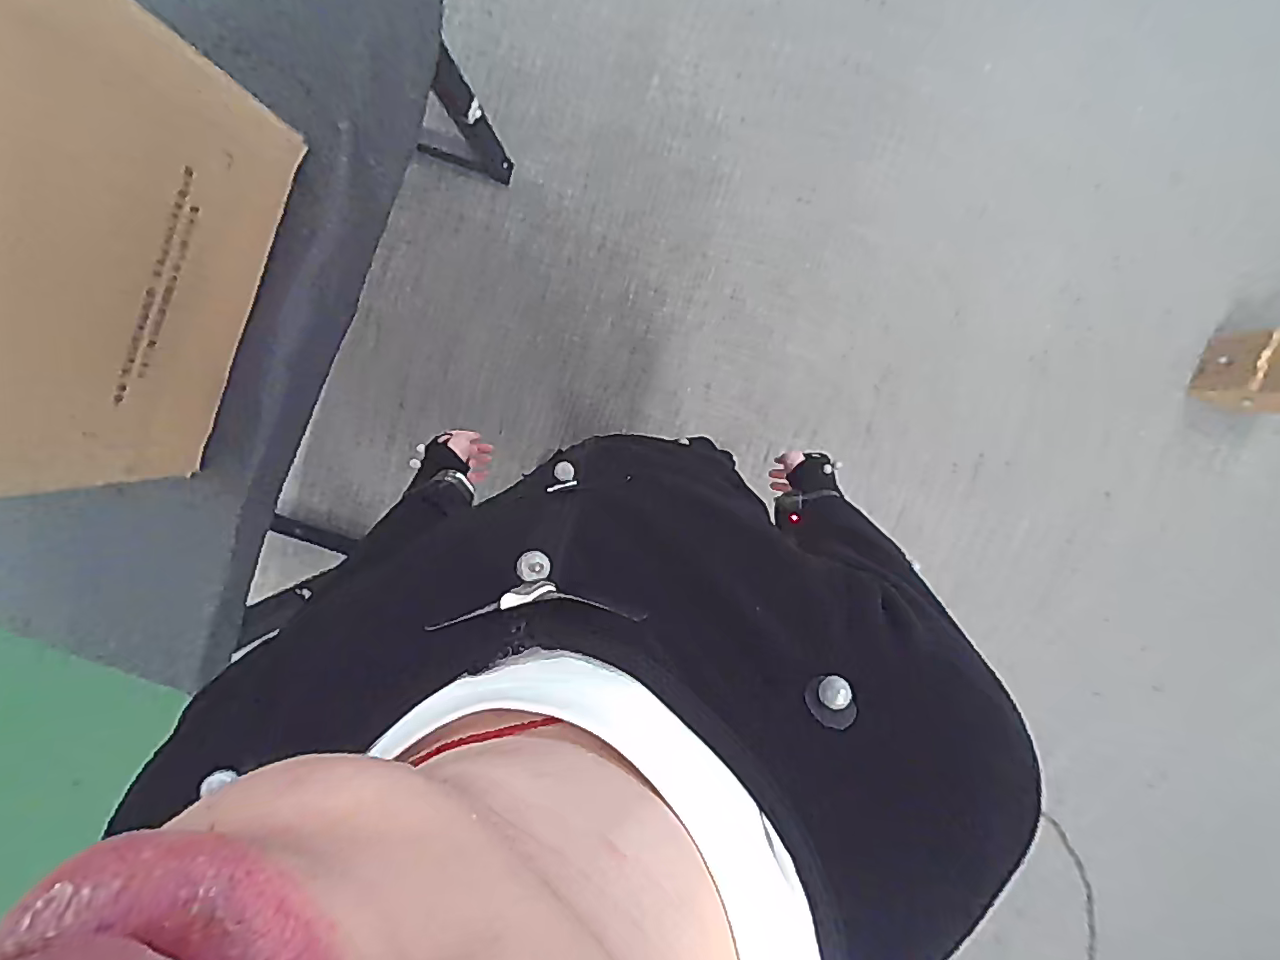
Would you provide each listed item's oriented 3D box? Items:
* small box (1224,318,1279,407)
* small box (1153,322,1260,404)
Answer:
[{"bbox_3d":[1.574,-0.281,1.290,0.168,0.176,0.179,18,95,-4],"label":"small box"},{"bbox_3d":[1.568,-0.309,1.469,0.179,0.176,0.168,17,95,-3],"label":"small box"}]
